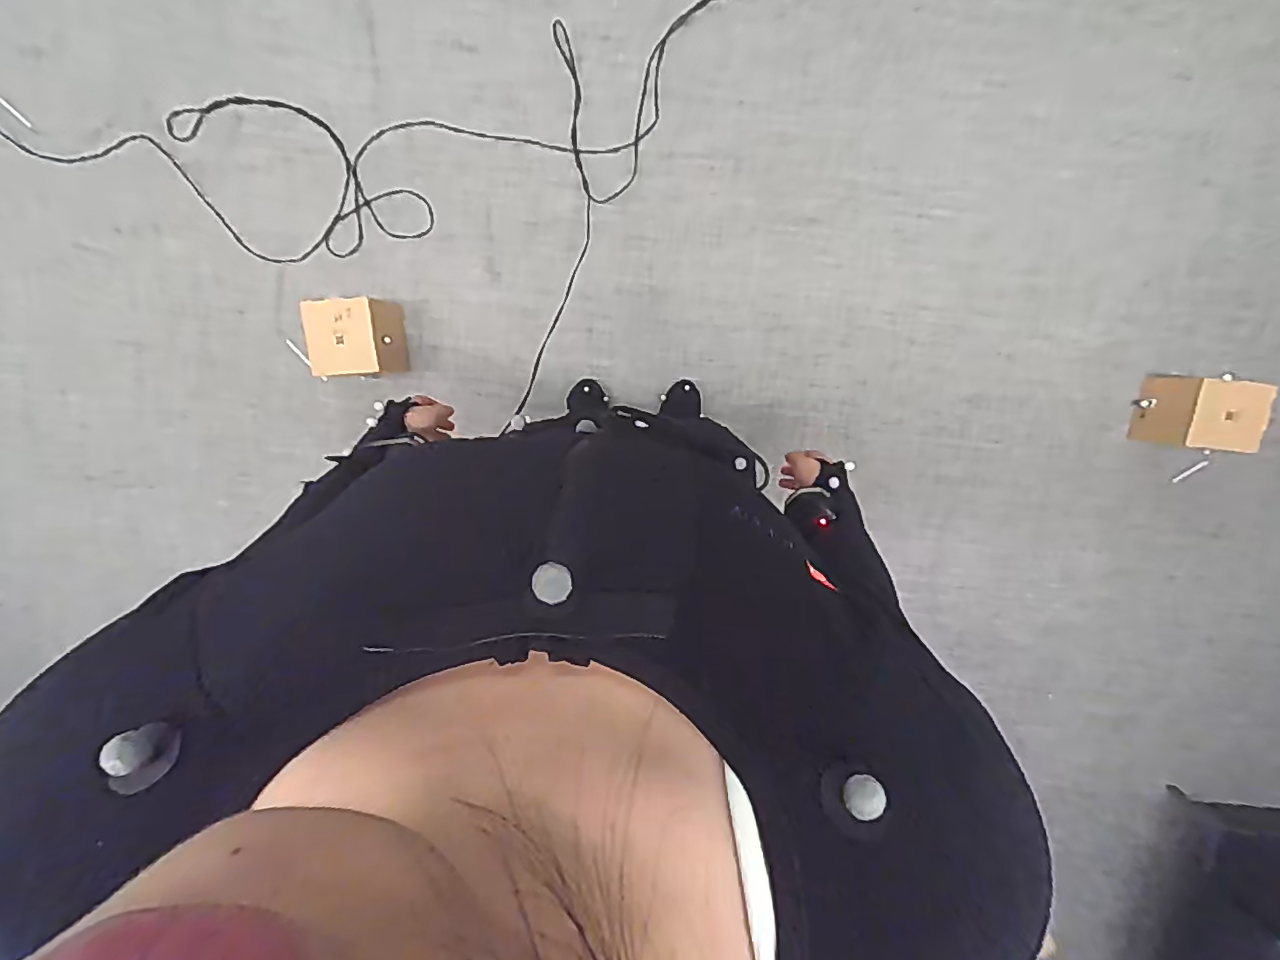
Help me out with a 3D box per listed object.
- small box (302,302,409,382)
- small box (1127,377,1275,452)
[{"bbox_3d":[-0.698,-0.341,1.348,0.168,0.176,0.179,-4,101,2],"label":"small box"},{"bbox_3d":[1.405,-0.171,1.368,0.179,0.176,0.168,5,100,1],"label":"small box"}]
